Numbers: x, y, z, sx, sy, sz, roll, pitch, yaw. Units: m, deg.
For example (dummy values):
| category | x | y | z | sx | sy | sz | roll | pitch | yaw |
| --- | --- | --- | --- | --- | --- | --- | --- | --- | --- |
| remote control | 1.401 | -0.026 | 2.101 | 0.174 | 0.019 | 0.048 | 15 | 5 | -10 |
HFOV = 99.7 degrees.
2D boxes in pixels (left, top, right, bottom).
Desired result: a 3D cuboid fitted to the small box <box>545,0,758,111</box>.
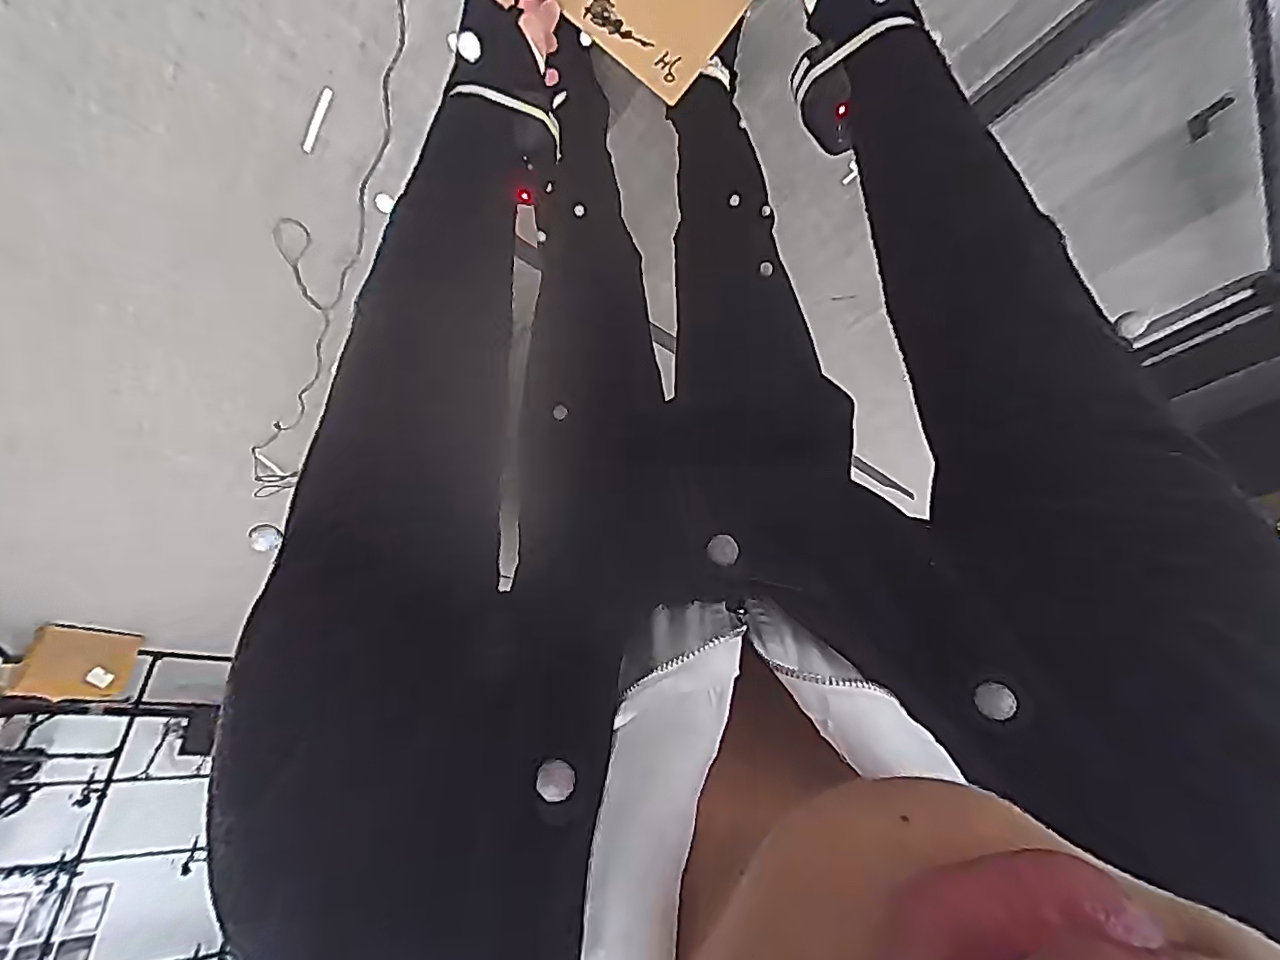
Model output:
| category | x | y | z | sx | sy | sz | roll | pitch | yaw |
| --- | --- | --- | --- | --- | --- | --- | --- | --- | --- |
| small box | 0.018 | -0.508 | 0.499 | 0.168 | 0.176 | 0.179 | 19 | 140 | -33 |
